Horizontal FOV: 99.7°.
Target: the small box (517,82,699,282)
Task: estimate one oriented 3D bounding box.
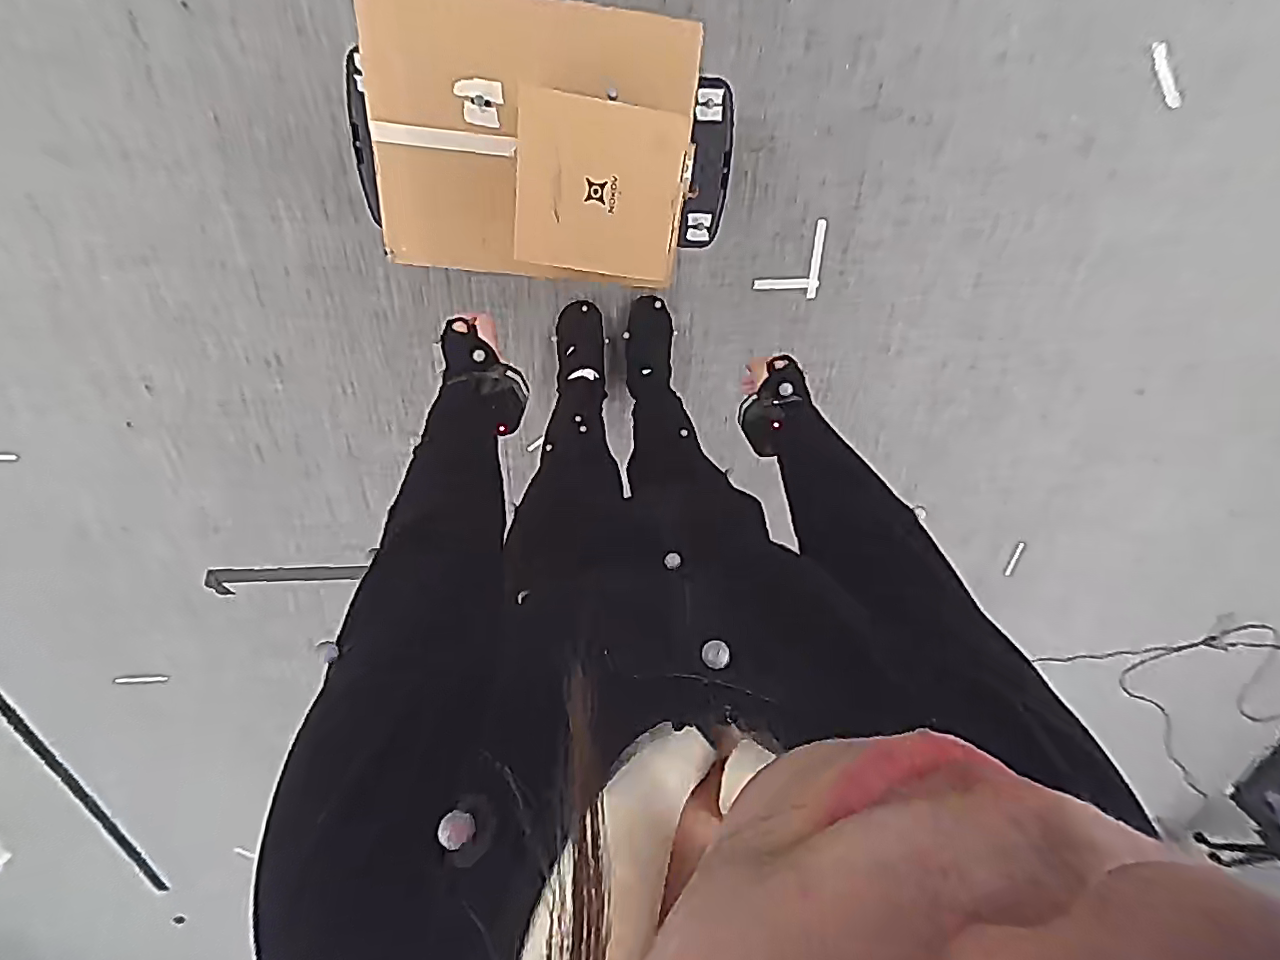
[{"bbox_3d":[-0.045,-0.345,0.635,0.179,0.176,0.168,5,120,-9],"label":"small box"}]

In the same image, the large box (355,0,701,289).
[{"bbox_3d":[-0.145,-0.495,0.822,0.408,0.320,0.320,3,119,-7],"label":"large box"}]

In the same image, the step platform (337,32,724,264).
[{"bbox_3d":[-0.188,-0.606,1.029,0.684,0.204,0.286,5,120,-8],"label":"step platform"}]
